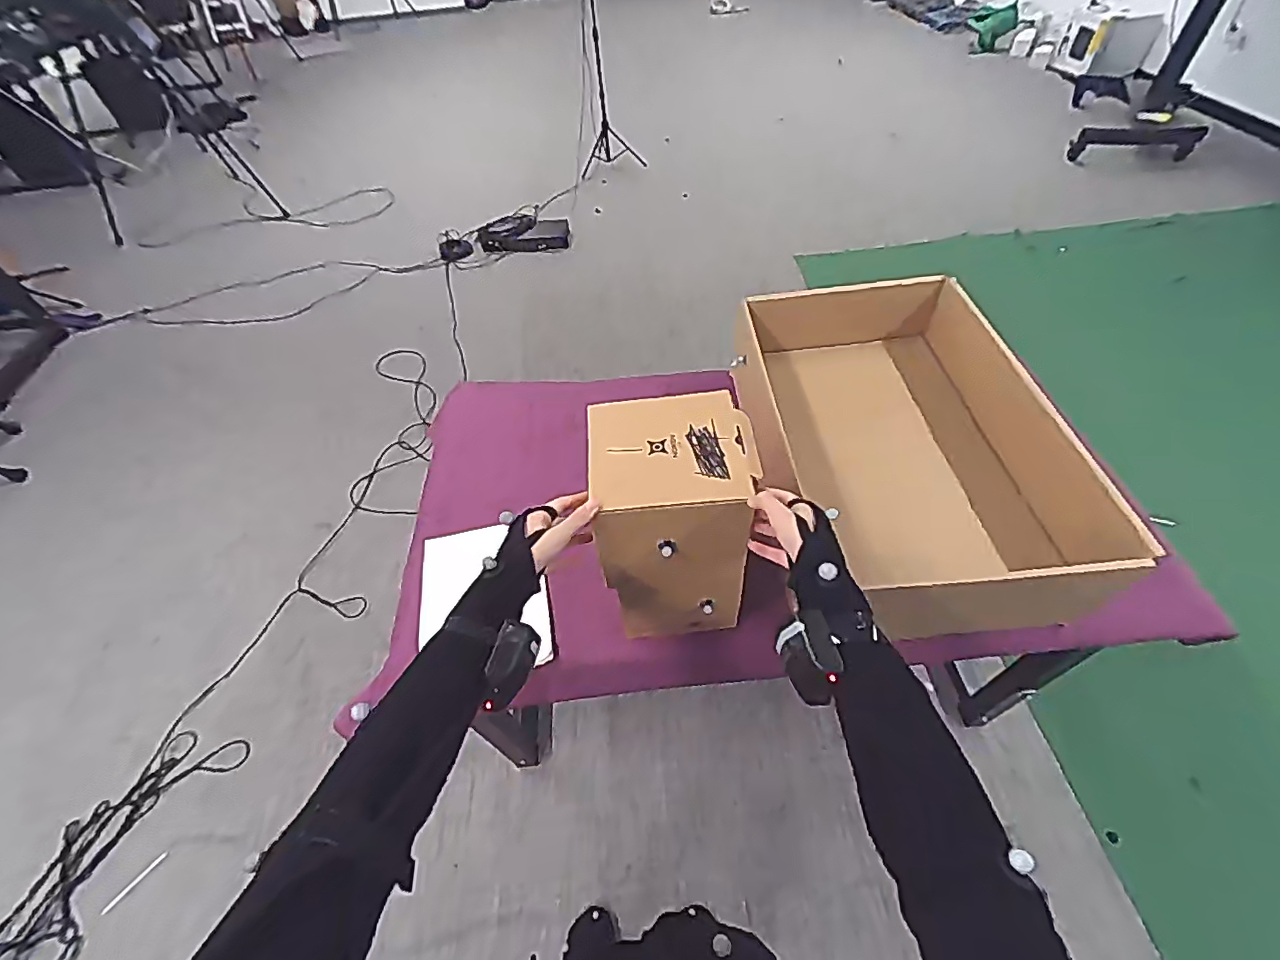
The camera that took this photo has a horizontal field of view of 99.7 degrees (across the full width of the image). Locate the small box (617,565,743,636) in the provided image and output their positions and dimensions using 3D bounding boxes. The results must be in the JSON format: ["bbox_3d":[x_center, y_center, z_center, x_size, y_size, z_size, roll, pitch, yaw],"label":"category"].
[{"bbox_3d":[0.054,0.118,0.797,0.168,0.176,0.179,-5,49,1],"label":"small box"}]

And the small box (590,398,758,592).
[{"bbox_3d":[0.036,0.022,0.666,0.179,0.176,0.168,-5,49,1],"label":"small box"}]
